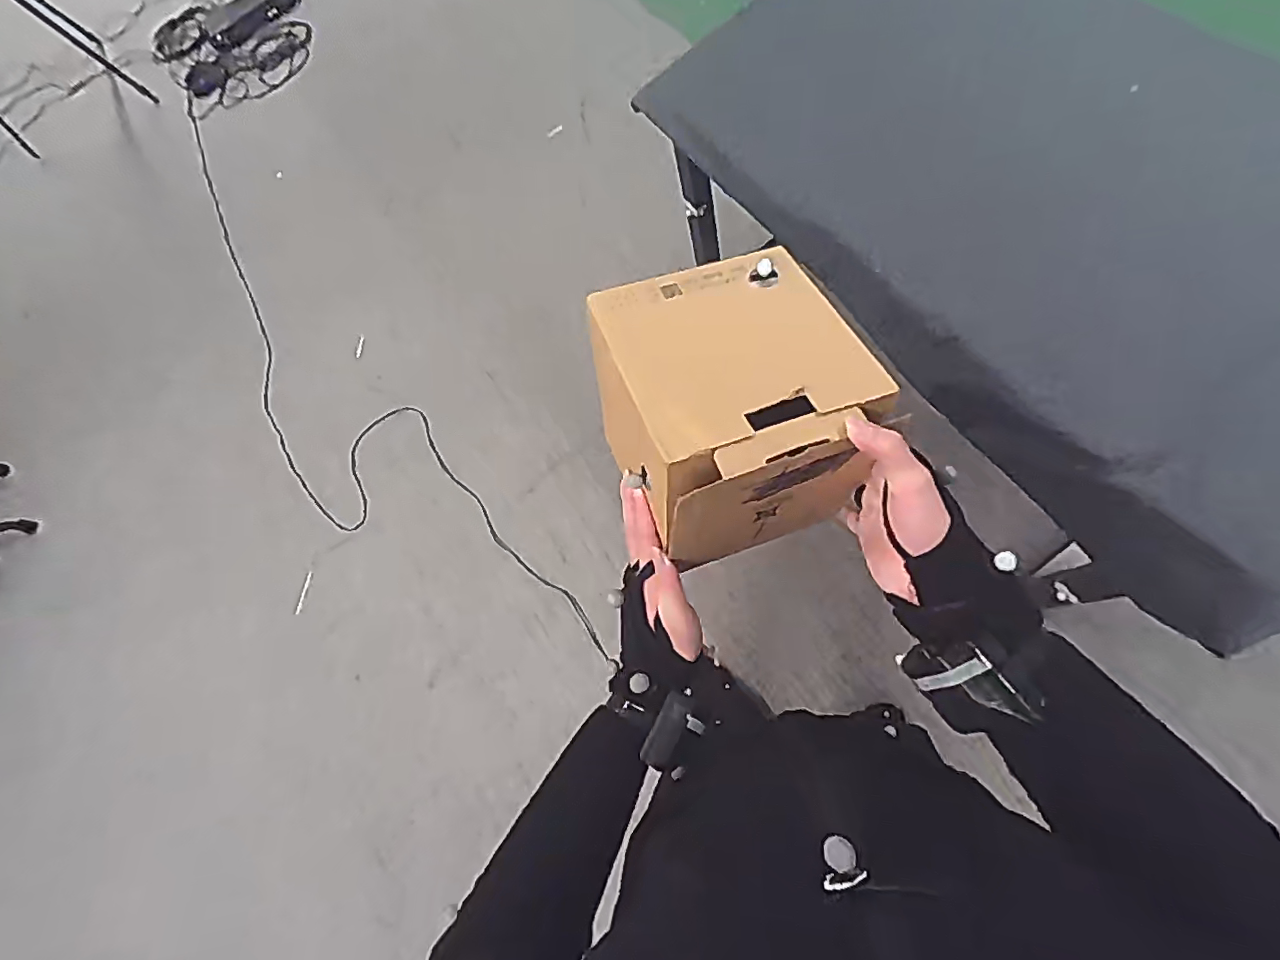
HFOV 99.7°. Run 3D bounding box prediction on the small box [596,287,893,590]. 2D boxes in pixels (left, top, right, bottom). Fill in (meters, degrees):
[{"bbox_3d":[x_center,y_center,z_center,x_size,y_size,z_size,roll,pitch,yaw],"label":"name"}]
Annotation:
[{"bbox_3d":[0.067,-0.038,0.455,0.168,0.179,0.176,-17,59,-9],"label":"small box"}]
